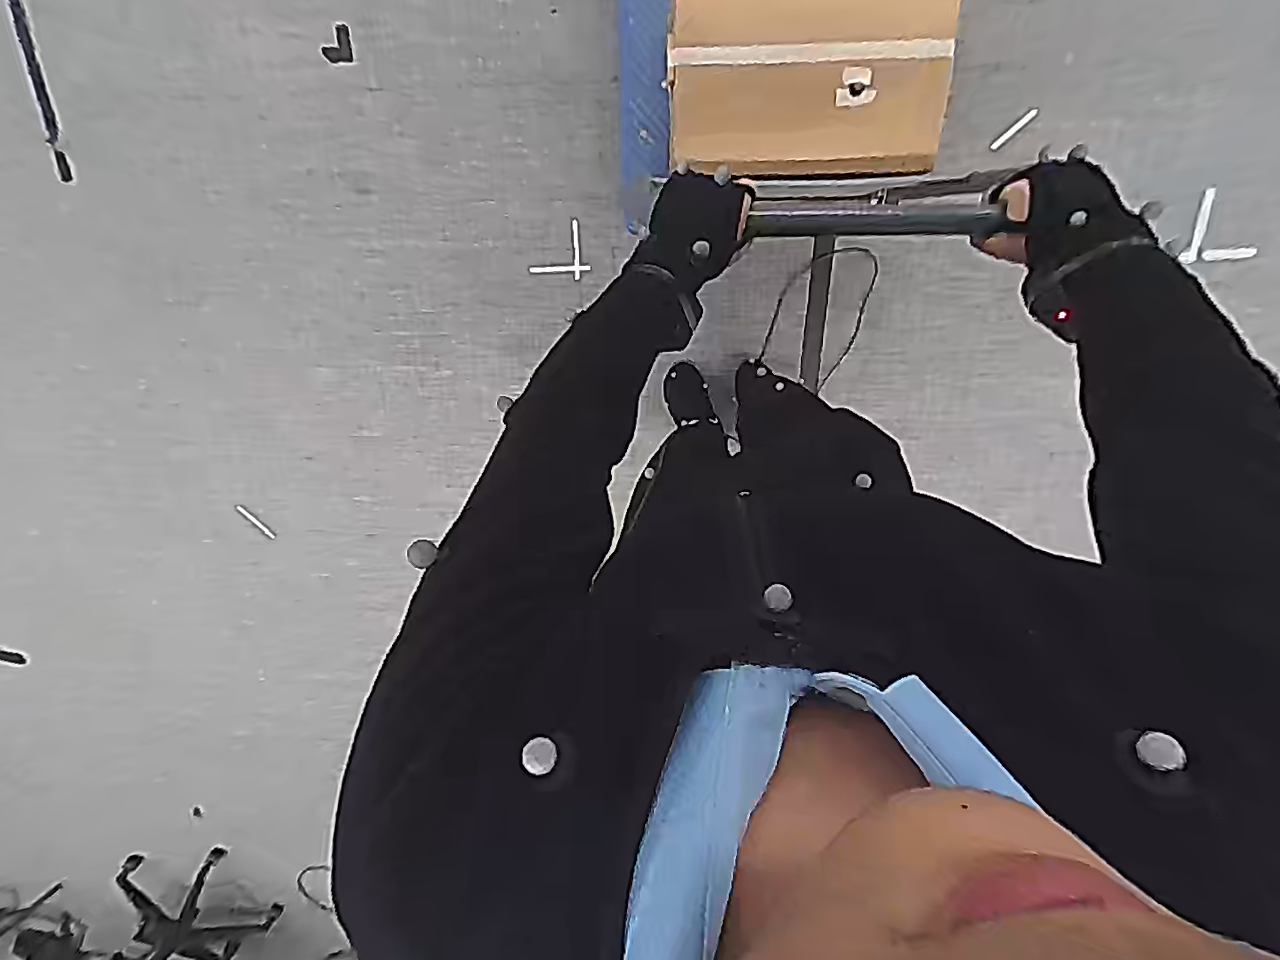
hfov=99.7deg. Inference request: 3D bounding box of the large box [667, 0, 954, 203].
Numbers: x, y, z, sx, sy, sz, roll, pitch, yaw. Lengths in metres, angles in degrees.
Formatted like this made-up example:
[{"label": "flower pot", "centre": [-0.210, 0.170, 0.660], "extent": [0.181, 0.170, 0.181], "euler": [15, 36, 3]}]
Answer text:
[{"label": "large box", "centre": [0.254, -0.680, 0.941], "extent": [0.408, 0.320, 0.320], "euler": [-1, 112, 2]}]
